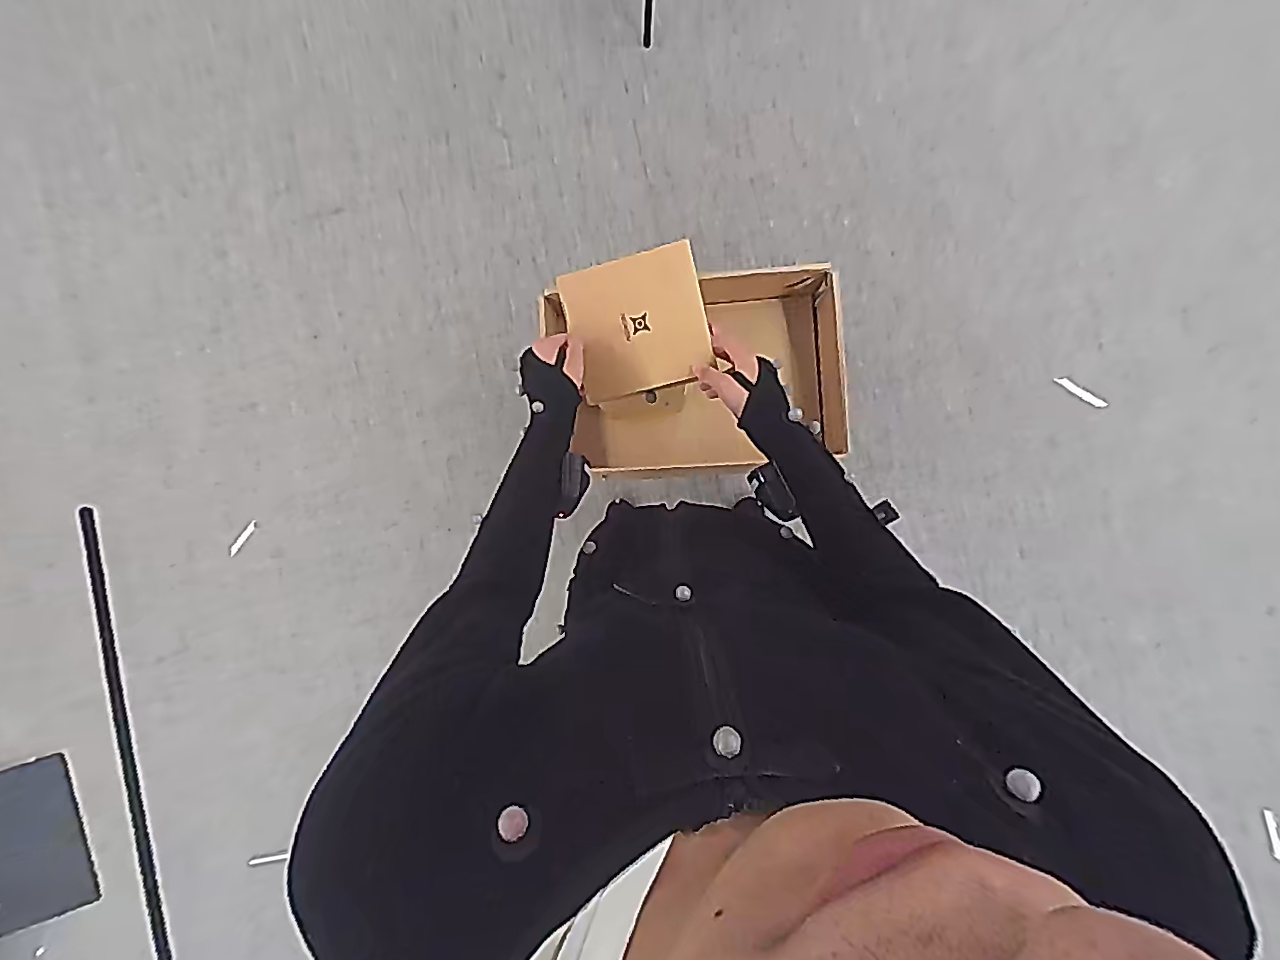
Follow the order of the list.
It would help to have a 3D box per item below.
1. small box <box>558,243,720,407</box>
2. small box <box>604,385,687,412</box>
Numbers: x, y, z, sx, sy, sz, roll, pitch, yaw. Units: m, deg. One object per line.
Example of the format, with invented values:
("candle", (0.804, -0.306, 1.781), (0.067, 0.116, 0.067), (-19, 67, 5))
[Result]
("small box", (0.008, -0.205, 0.753), (0.179, 0.176, 0.168), (-13, 97, 10))
("small box", (-0.006, -0.234, 0.999), (0.168, 0.176, 0.179), (-6, 87, 2))
